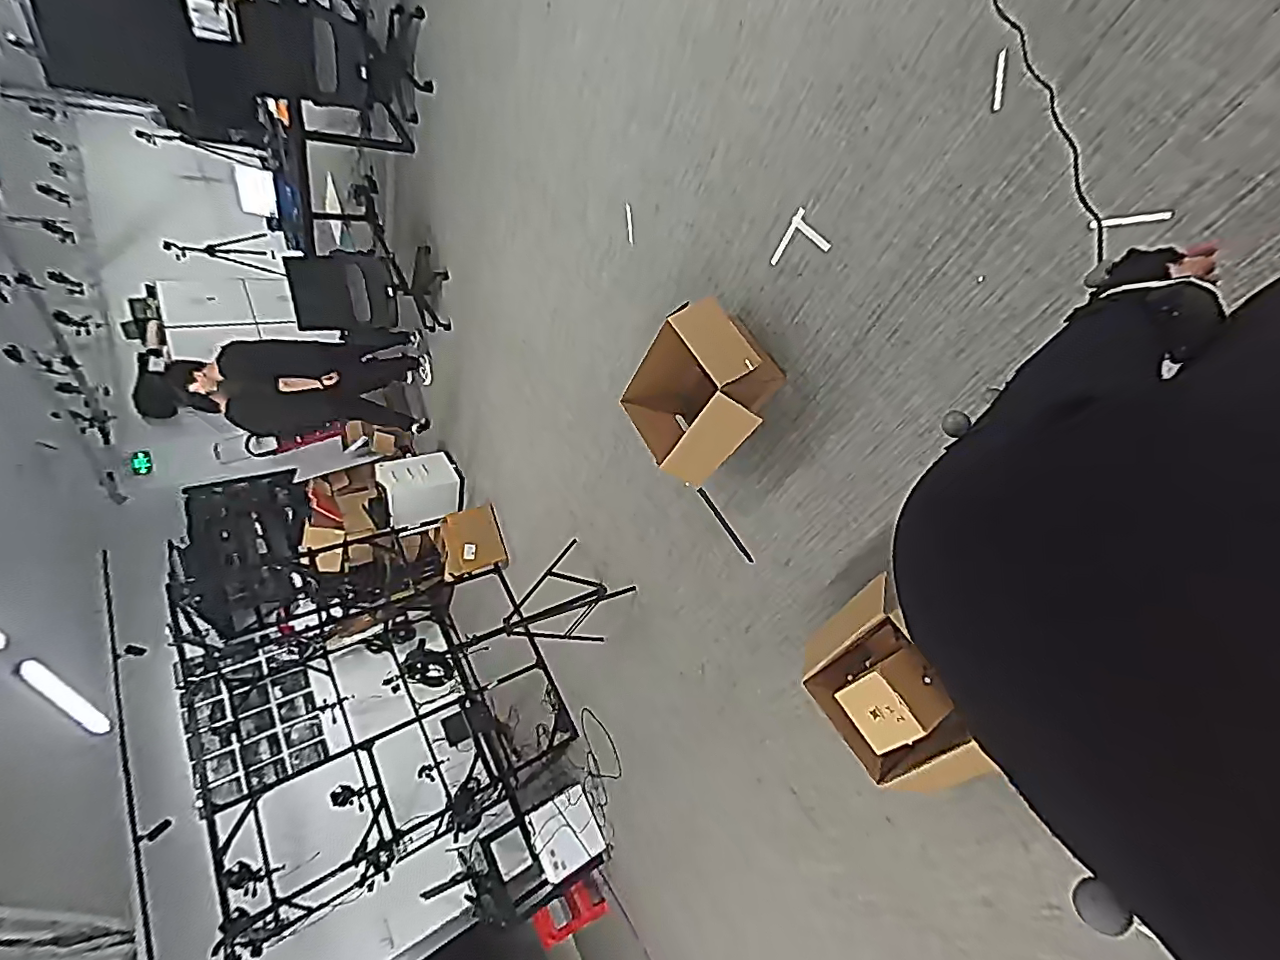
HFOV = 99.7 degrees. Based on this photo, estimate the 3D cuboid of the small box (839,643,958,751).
[{"bbox_3d":[0.644,0.536,1.346,0.168,0.176,0.179,56,141,25],"label":"small box"}]
